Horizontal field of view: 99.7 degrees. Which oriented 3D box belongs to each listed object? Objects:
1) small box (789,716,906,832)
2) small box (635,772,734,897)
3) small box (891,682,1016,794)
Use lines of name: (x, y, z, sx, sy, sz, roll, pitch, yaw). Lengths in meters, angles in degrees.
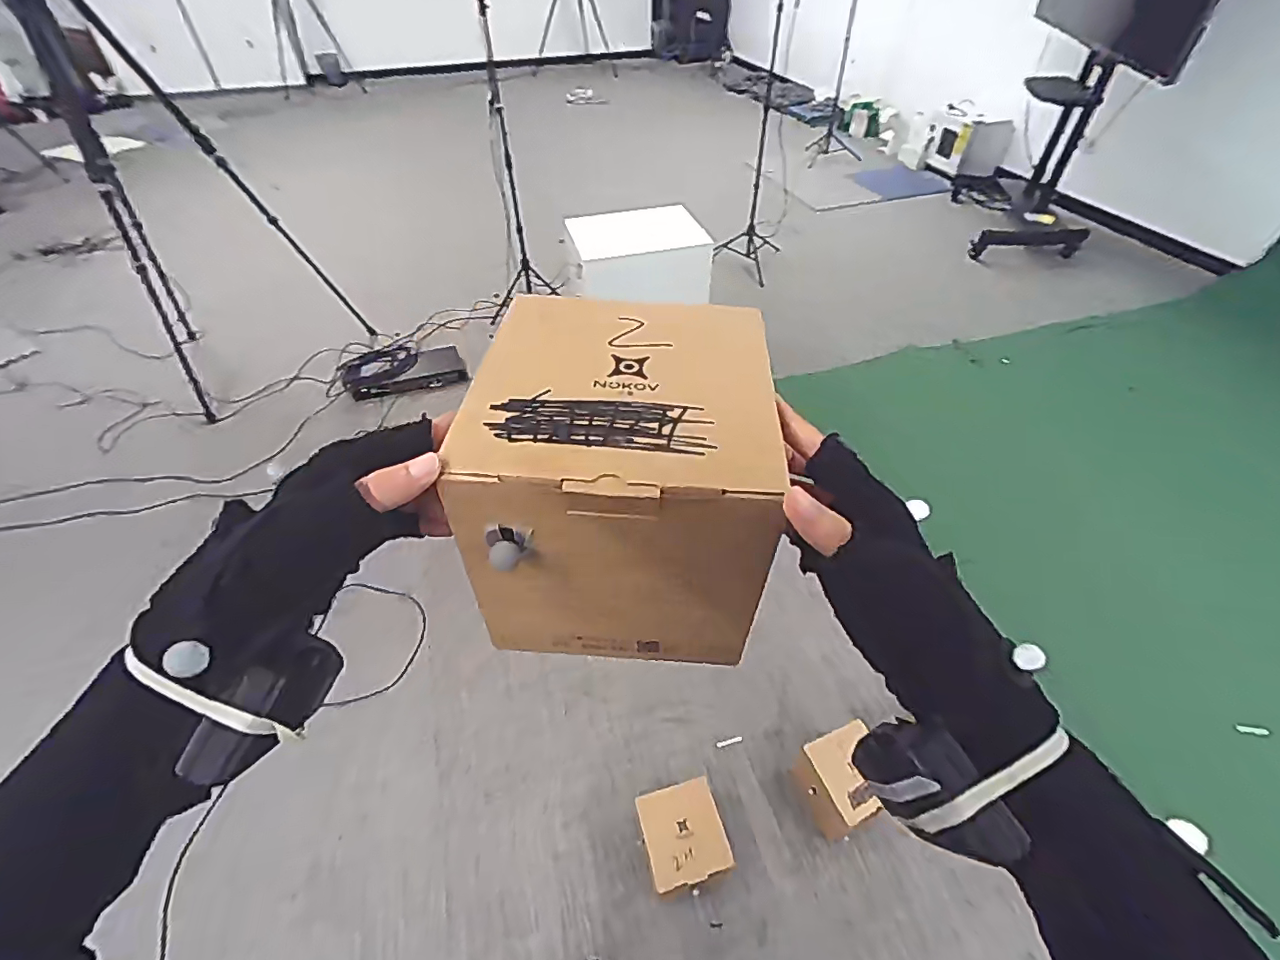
small box: (0.474, 0.694, 1.265, 0.168, 0.176, 0.179, -16, 48, -16)
small box: (0.089, 0.776, 1.184, 0.168, 0.176, 0.179, -13, 49, -11)
small box: (0.754, 0.633, 1.325, 0.168, 0.176, 0.179, -14, 49, -12)
